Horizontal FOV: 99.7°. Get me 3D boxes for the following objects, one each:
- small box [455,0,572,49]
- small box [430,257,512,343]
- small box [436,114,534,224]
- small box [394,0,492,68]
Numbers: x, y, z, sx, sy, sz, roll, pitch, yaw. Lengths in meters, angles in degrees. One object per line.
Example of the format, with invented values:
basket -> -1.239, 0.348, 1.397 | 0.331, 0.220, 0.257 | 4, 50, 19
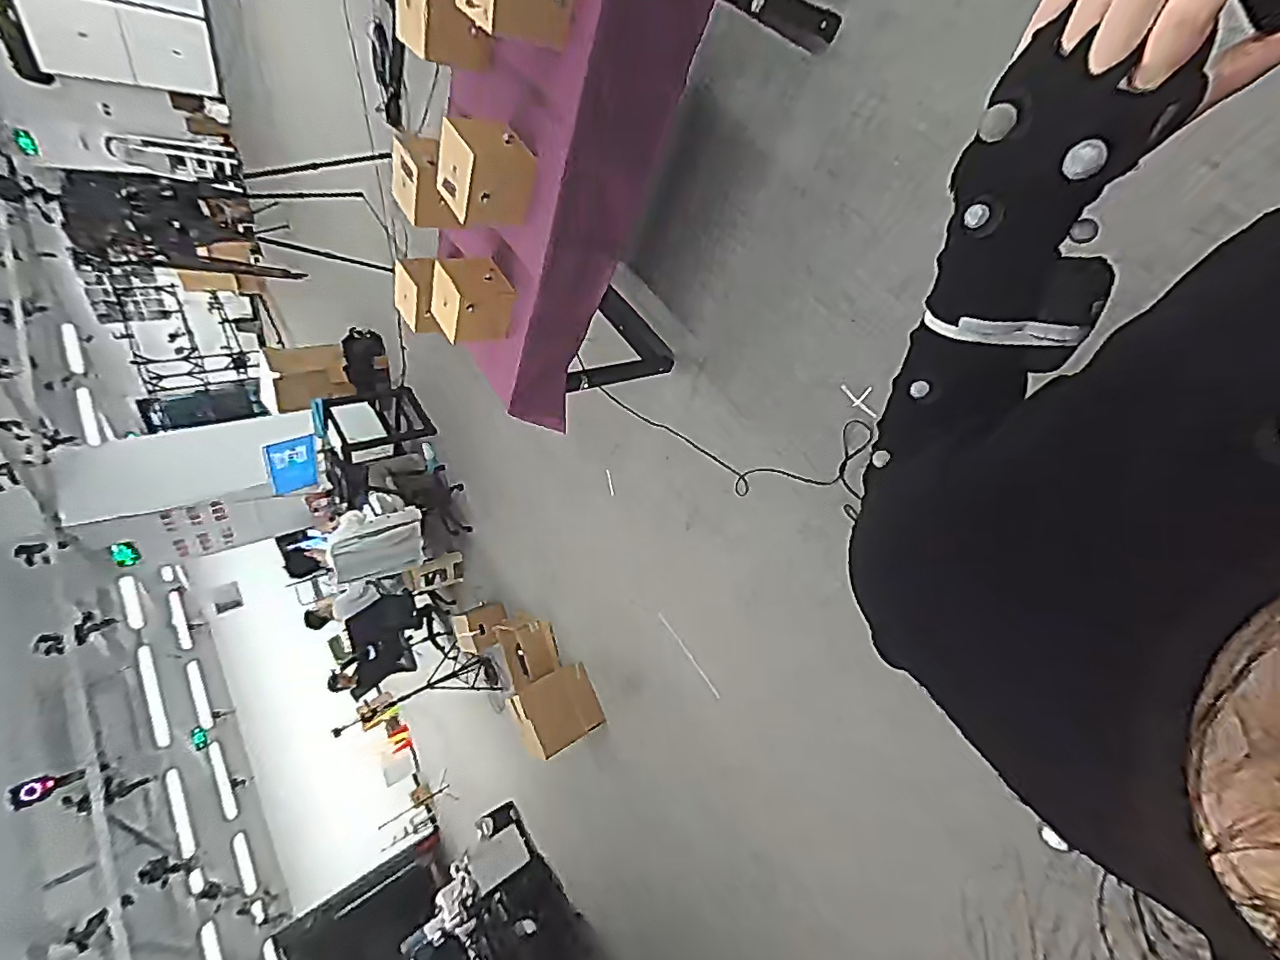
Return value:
small box -> -0.237, -0.980, 1.043 | 0.168, 0.176, 0.179 | 53, 140, 24
small box -> -0.491, -0.523, 1.570 | 0.168, 0.176, 0.179 | 54, 139, 22
small box -> -0.380, -0.753, 1.326 | 0.168, 0.176, 0.179 | 55, 140, 20
small box -> -0.462, -1.105, 1.273 | 0.179, 0.176, 0.168 | 51, 139, 24
